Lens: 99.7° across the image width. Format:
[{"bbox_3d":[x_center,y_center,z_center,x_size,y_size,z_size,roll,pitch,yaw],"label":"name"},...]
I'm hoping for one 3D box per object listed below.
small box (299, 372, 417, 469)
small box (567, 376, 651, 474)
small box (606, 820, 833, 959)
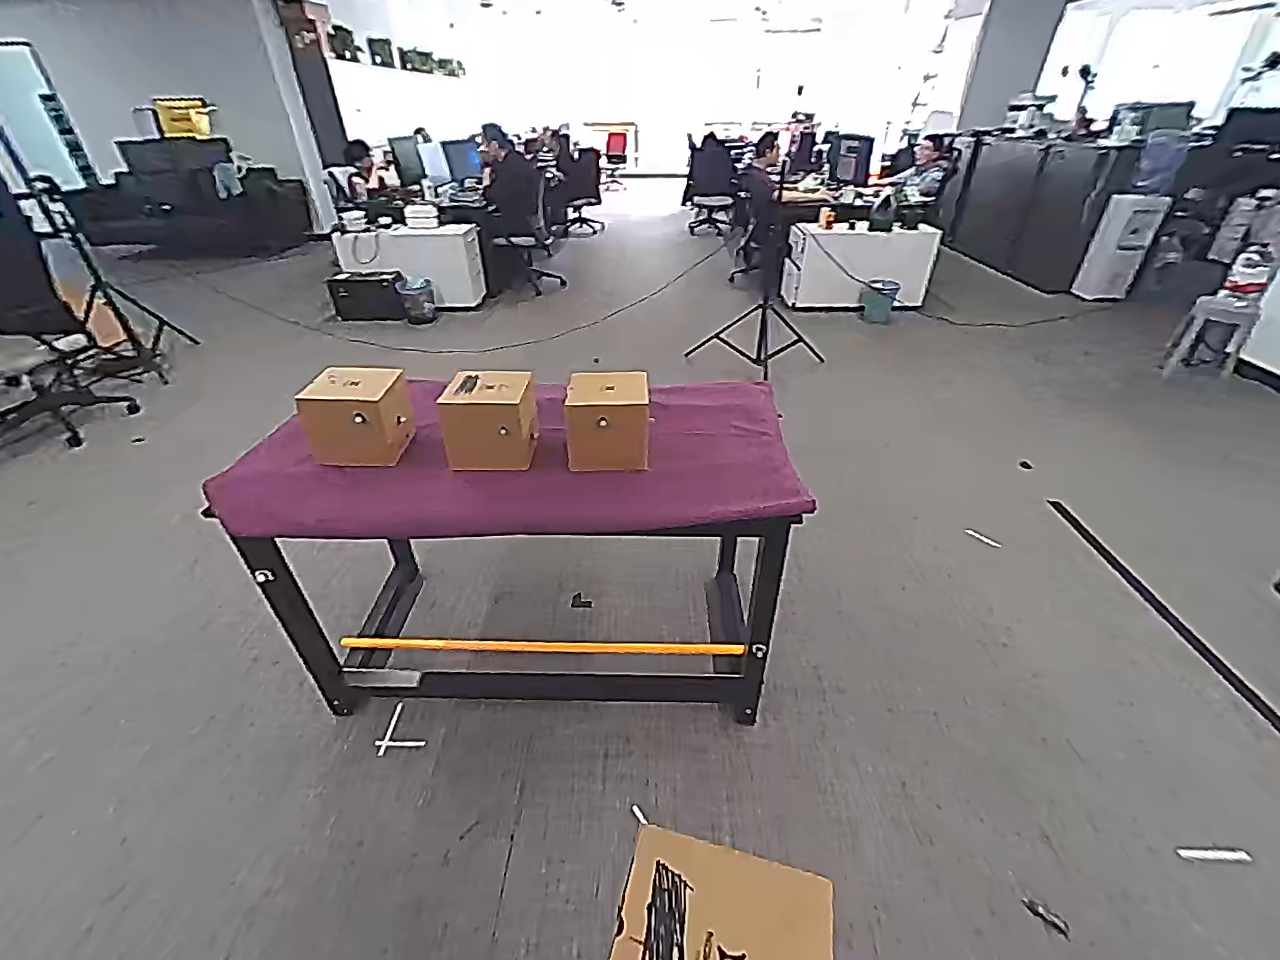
[{"bbox_3d":[-0.634,-0.136,1.246,0.179,0.176,0.168,1,34,-2],"label":"small box"},{"bbox_3d":[-0.065,-0.124,1.229,0.179,0.176,0.168,-1,34,0],"label":"small box"},{"bbox_3d":[0.065,0.445,0.475,0.179,0.176,0.168,9,35,13],"label":"small box"}]
